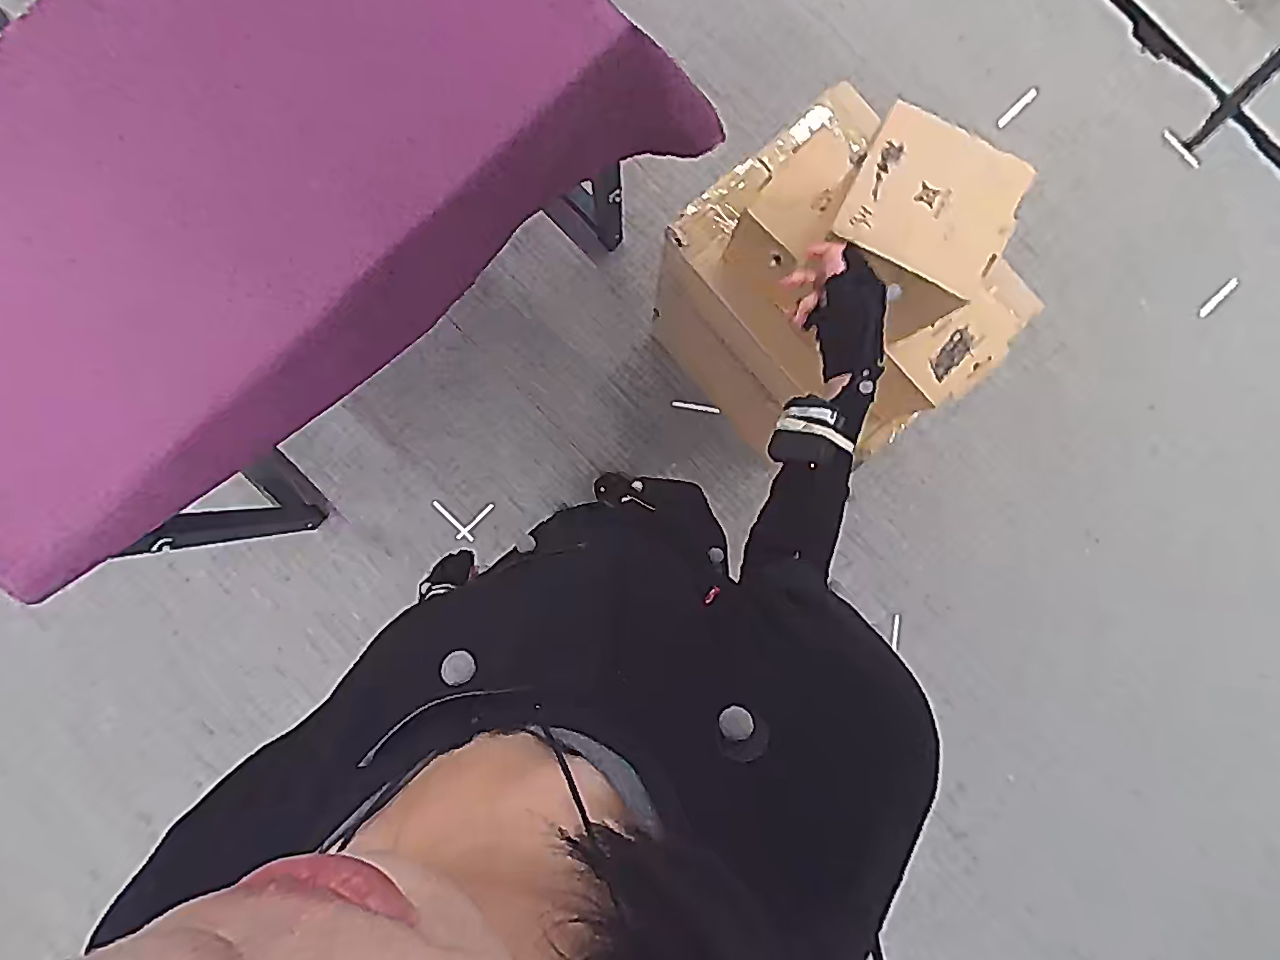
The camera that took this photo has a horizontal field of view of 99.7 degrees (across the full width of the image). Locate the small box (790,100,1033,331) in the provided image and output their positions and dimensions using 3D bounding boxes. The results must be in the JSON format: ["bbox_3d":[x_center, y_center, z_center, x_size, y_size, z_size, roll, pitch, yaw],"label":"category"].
[{"bbox_3d":[0.315,-0.303,0.667,0.179,0.176,0.168,27,89,0],"label":"small box"}]

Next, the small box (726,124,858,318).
[{"bbox_3d":[0.256,-0.380,0.831,0.179,0.176,0.168,43,90,-2],"label":"small box"}]

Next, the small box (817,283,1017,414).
[{"bbox_3d":[0.408,-0.217,0.829,0.168,0.176,0.179,-42,88,-1],"label":"small box"}]
